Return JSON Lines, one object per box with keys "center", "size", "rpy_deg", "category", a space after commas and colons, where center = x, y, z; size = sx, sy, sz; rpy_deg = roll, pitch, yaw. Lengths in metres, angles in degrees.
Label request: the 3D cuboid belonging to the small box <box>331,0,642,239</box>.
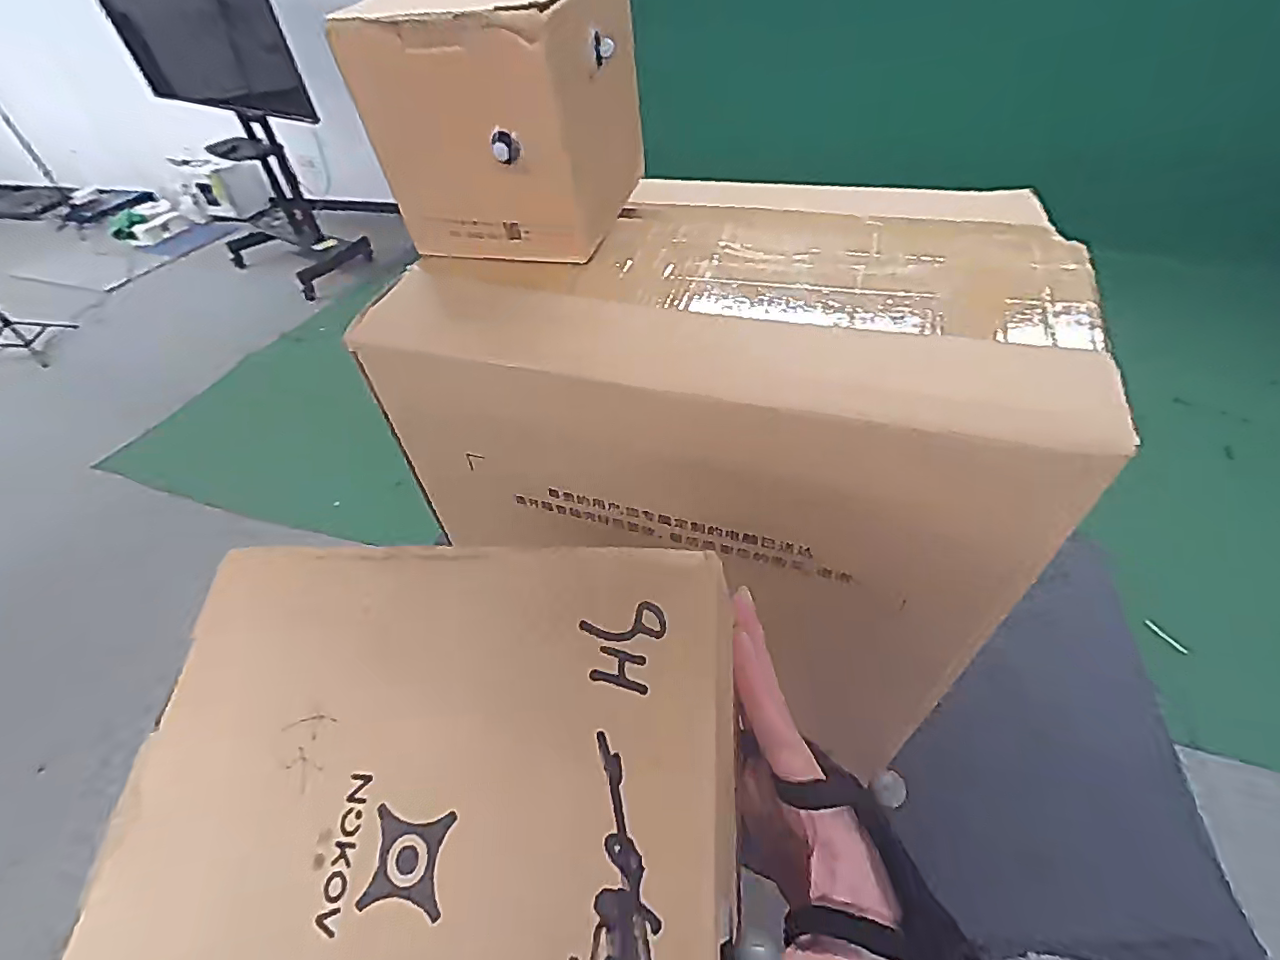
{"center": [-0.098, -0.318, 0.445], "size": [0.168, 0.176, 0.179], "rpy_deg": [10, 51, 13], "category": "small box"}
